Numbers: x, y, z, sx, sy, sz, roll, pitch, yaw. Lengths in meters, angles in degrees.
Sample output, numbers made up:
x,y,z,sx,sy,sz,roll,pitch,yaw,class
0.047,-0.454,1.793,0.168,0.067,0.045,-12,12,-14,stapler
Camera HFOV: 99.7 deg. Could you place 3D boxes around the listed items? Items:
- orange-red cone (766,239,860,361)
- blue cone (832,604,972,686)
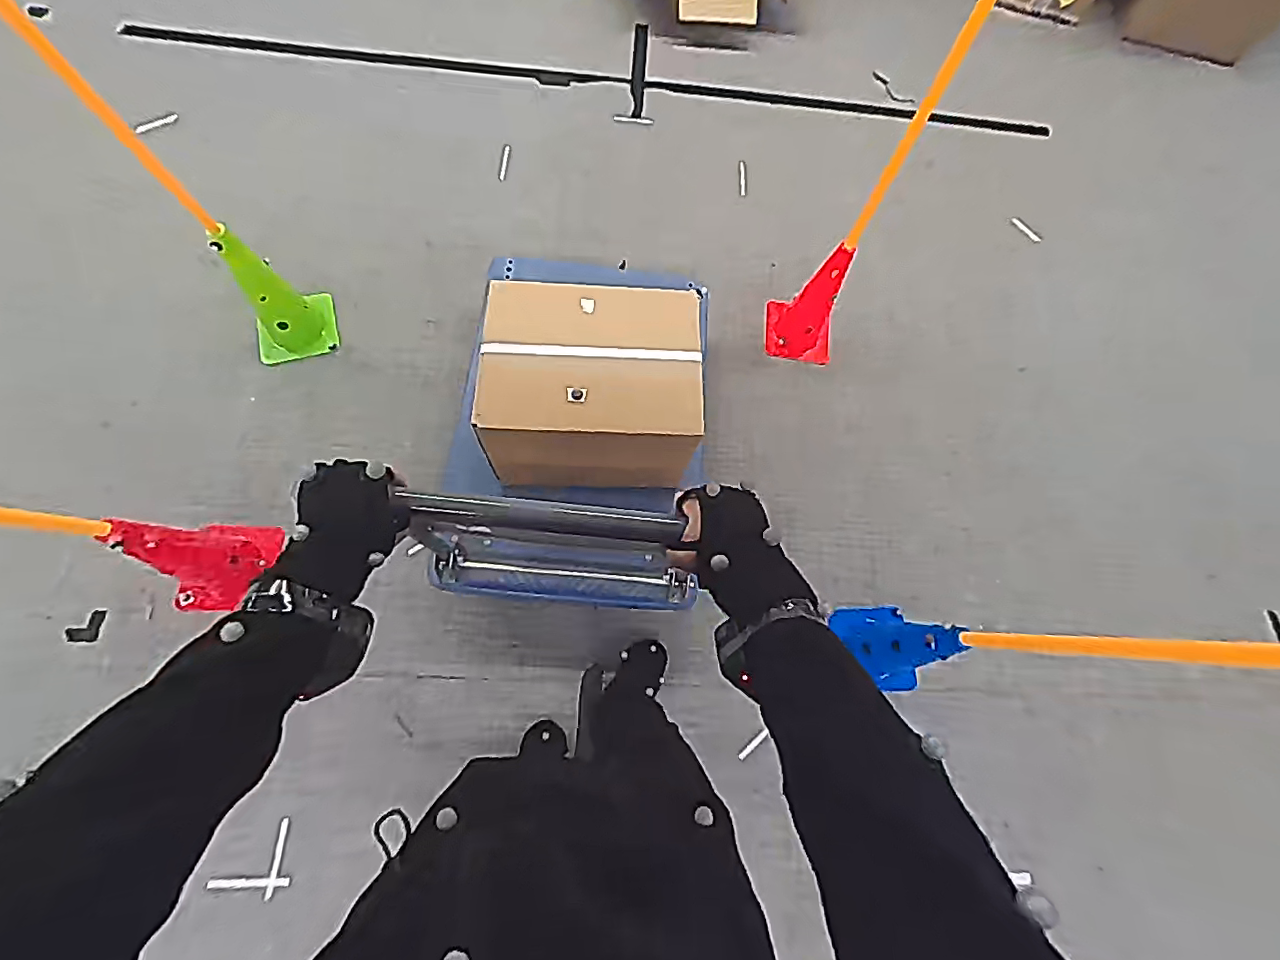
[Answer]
x,y,z,sx,sy,sz,roll,pitch,yaw,class
0.502,-0.512,1.473,0.199,0.360,0.198,10,70,-3,orange-red cone
0.593,0.348,1.184,0.193,0.380,0.192,0,69,-6,blue cone
